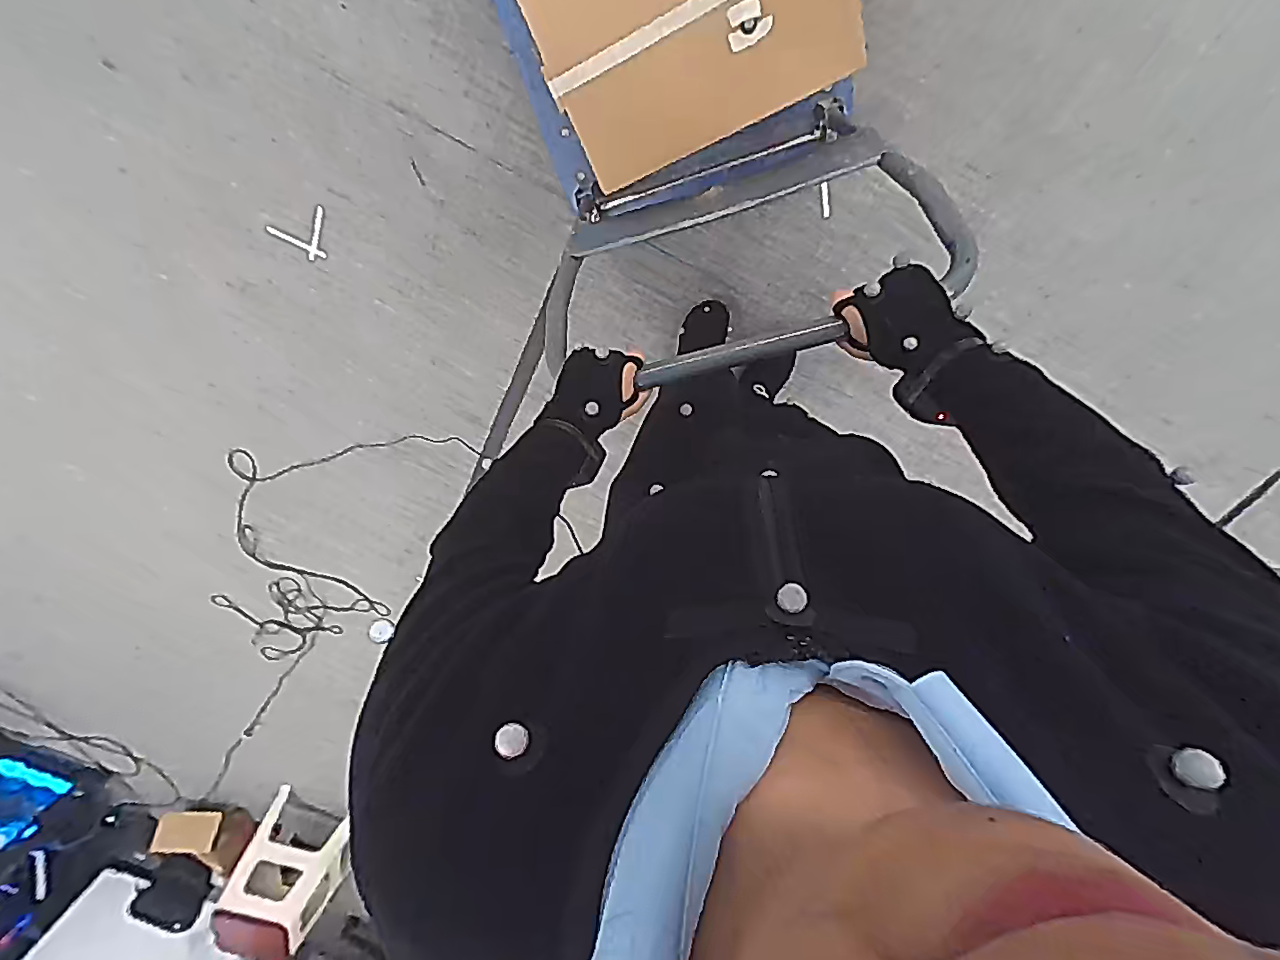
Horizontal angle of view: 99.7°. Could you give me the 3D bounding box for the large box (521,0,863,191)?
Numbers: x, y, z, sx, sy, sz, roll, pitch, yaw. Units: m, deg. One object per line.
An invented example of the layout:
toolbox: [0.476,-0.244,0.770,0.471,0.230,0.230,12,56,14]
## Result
large box: [0.069,-0.722,0.834,0.408,0.320,0.320,-19,127,17]
